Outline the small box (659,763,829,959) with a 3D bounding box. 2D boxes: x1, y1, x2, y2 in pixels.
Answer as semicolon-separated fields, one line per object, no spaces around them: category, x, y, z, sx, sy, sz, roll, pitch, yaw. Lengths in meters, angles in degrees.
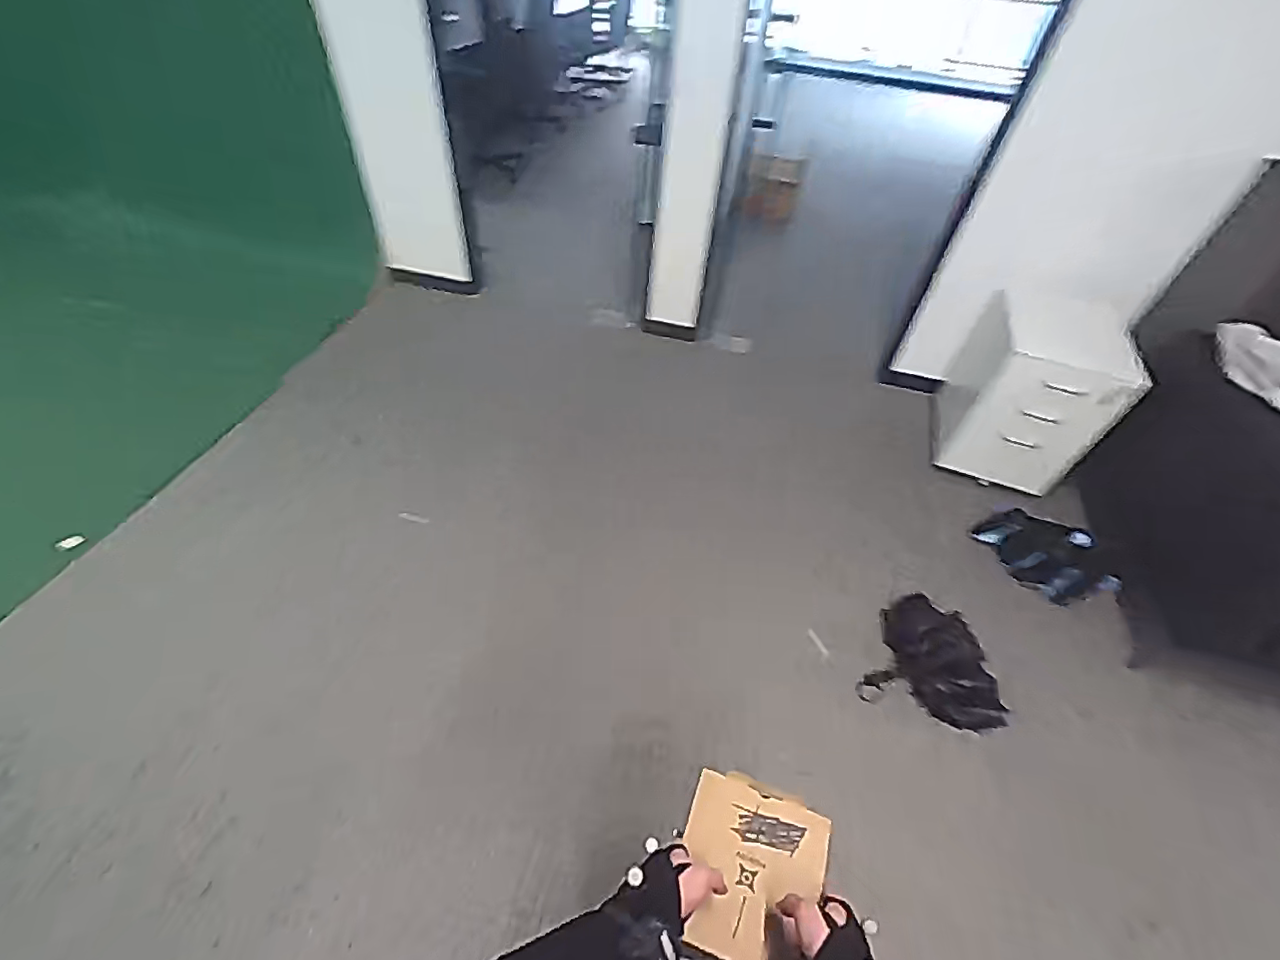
small box;0.124;0.495;0.676;0.168;0.176;0.179;15;48;14
